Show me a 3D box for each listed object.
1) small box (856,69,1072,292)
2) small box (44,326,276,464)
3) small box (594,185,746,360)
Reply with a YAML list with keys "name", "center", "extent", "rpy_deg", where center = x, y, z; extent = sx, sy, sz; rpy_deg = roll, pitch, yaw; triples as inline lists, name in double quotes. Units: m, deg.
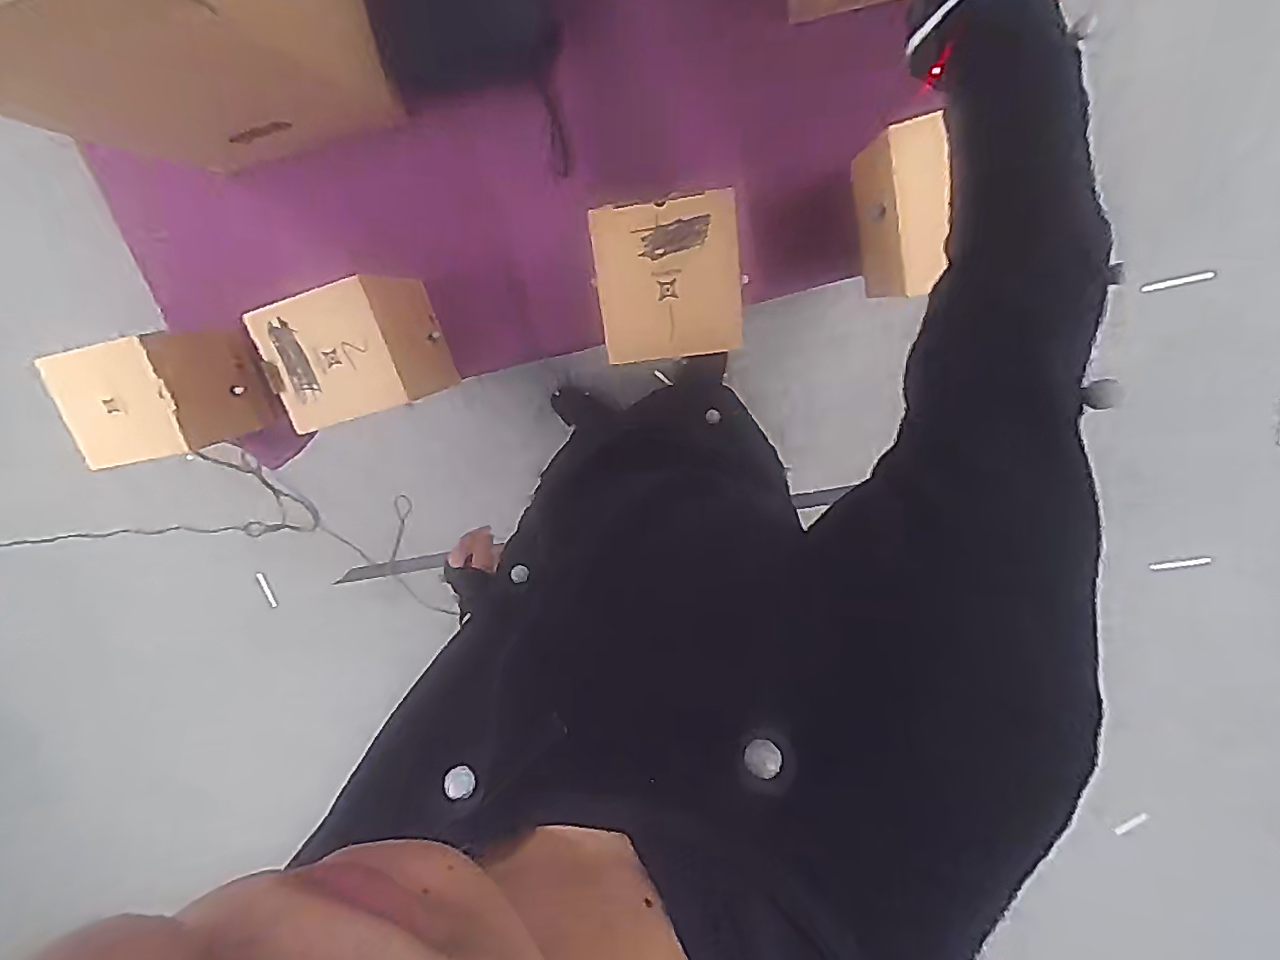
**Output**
- name: "small box"
  center: [0.364, -0.328, 0.633]
  extent: [0.168, 0.176, 0.179]
  rpy_deg: [-11, 107, 12]
- name: "small box"
  center: [-0.719, -0.136, 0.833]
  extent: [0.179, 0.176, 0.168]
  rpy_deg: [-10, 108, 9]
- name: "small box"
  center: [0.044, -0.260, 0.698]
  extent: [0.168, 0.176, 0.179]
  rpy_deg: [-4, 110, 9]
